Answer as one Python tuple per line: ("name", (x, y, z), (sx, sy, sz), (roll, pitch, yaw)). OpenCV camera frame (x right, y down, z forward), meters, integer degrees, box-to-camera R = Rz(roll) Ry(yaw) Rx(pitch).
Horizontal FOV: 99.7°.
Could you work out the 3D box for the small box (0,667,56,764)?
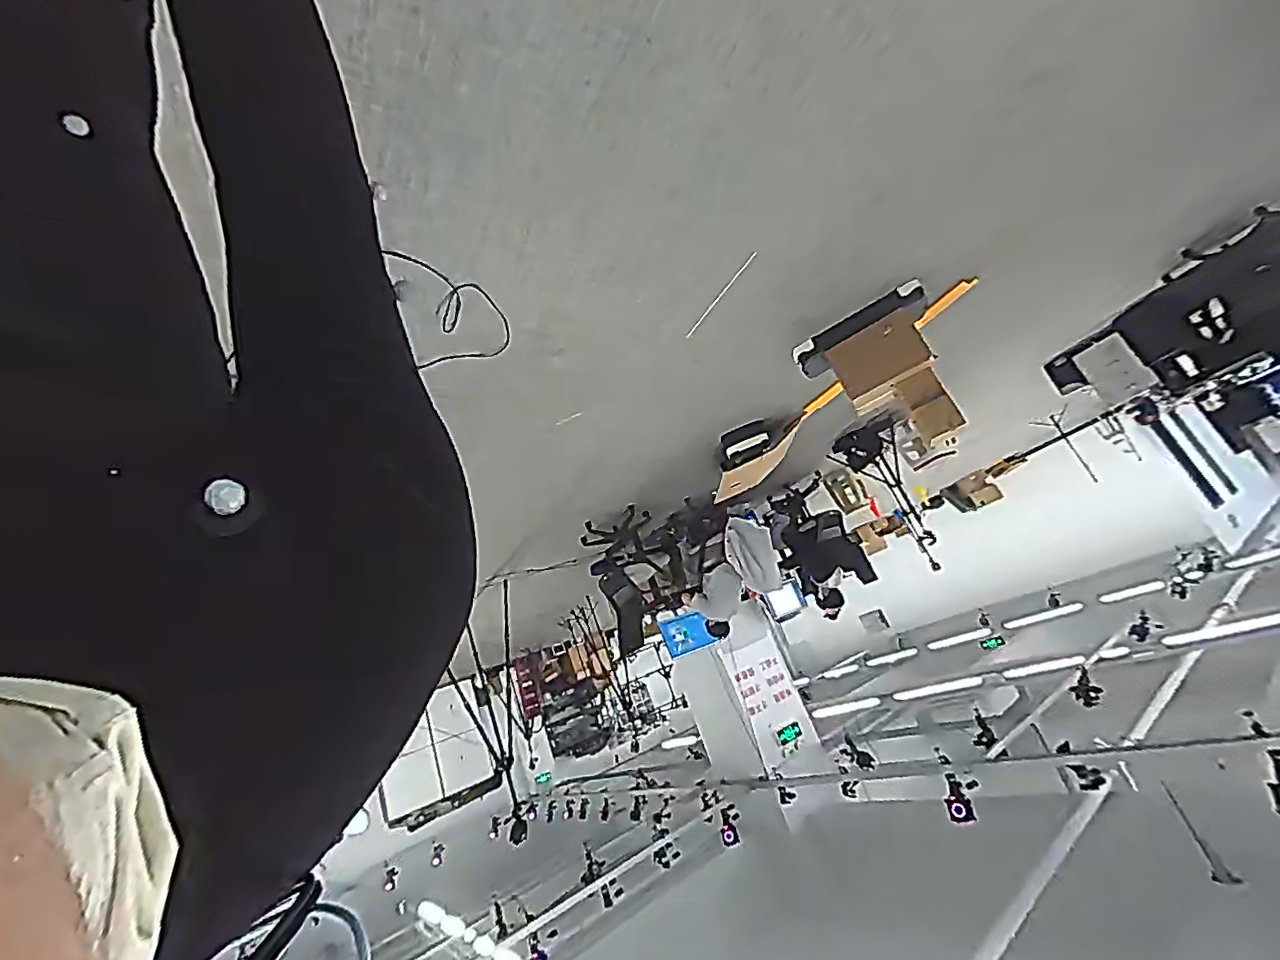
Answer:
("small box", (-1.481, 0.553, 1.246), (0.179, 0.176, 0.168), (-4, 155, -45))
